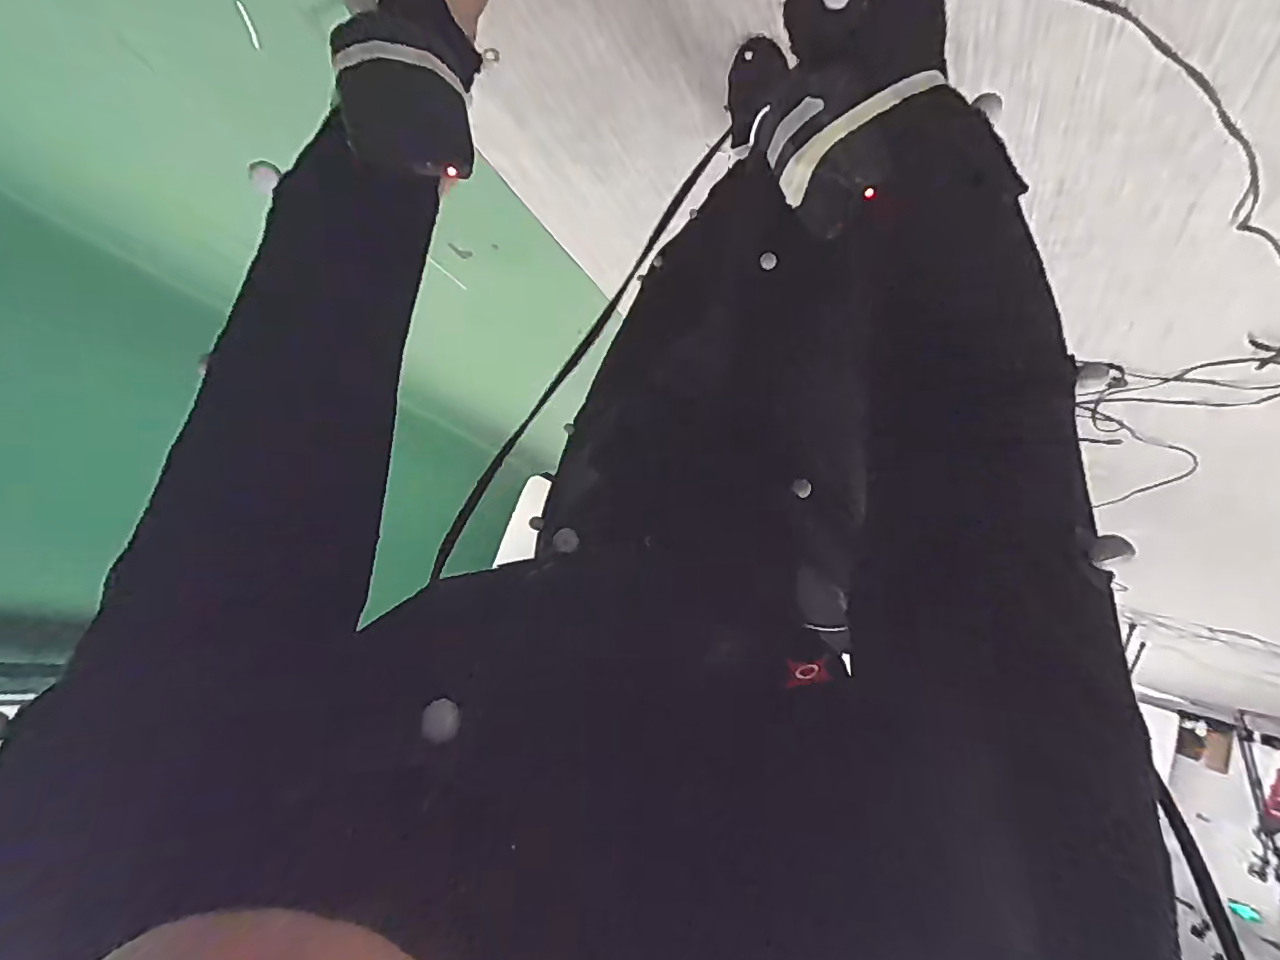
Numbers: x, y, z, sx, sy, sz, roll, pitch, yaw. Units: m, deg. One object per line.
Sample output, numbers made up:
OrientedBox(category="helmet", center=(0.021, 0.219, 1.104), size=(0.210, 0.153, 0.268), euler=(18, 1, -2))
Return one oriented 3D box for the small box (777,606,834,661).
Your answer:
OrientedBox(category="small box", center=(0.661, 0.609, 2.149), size=(0.168, 0.176, 0.179), euler=(15, 170, 29))
